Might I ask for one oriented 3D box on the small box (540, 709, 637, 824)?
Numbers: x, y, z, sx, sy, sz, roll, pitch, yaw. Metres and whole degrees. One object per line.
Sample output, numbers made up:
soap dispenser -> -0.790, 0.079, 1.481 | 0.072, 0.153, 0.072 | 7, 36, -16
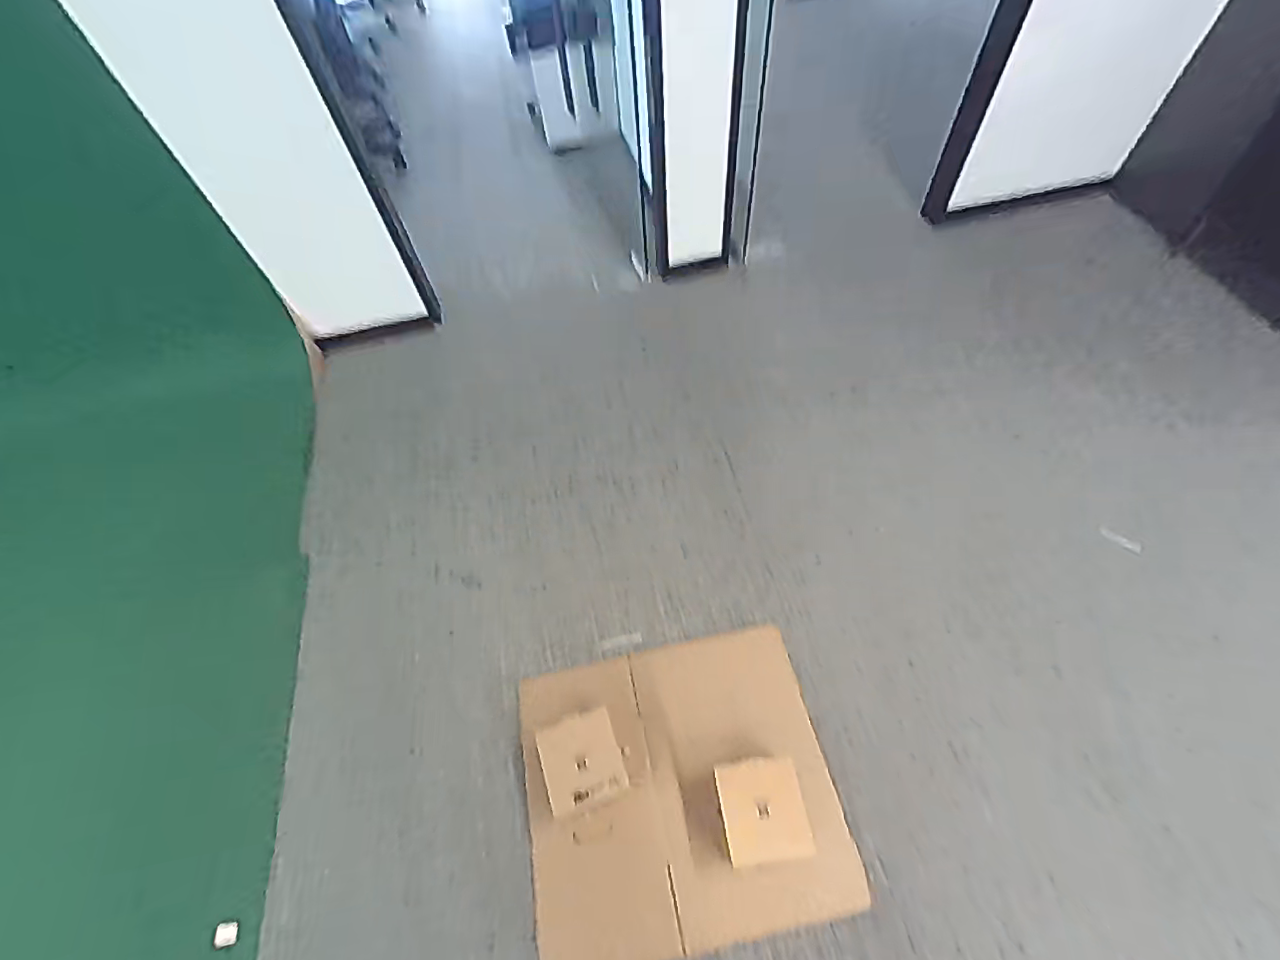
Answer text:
small box -> -0.111, 0.640, 1.204 | 0.168, 0.176, 0.179 | -18, 56, -8

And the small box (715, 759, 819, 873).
small box -> 0.255, 0.700, 1.130 | 0.168, 0.176, 0.179 | -9, 55, -1
